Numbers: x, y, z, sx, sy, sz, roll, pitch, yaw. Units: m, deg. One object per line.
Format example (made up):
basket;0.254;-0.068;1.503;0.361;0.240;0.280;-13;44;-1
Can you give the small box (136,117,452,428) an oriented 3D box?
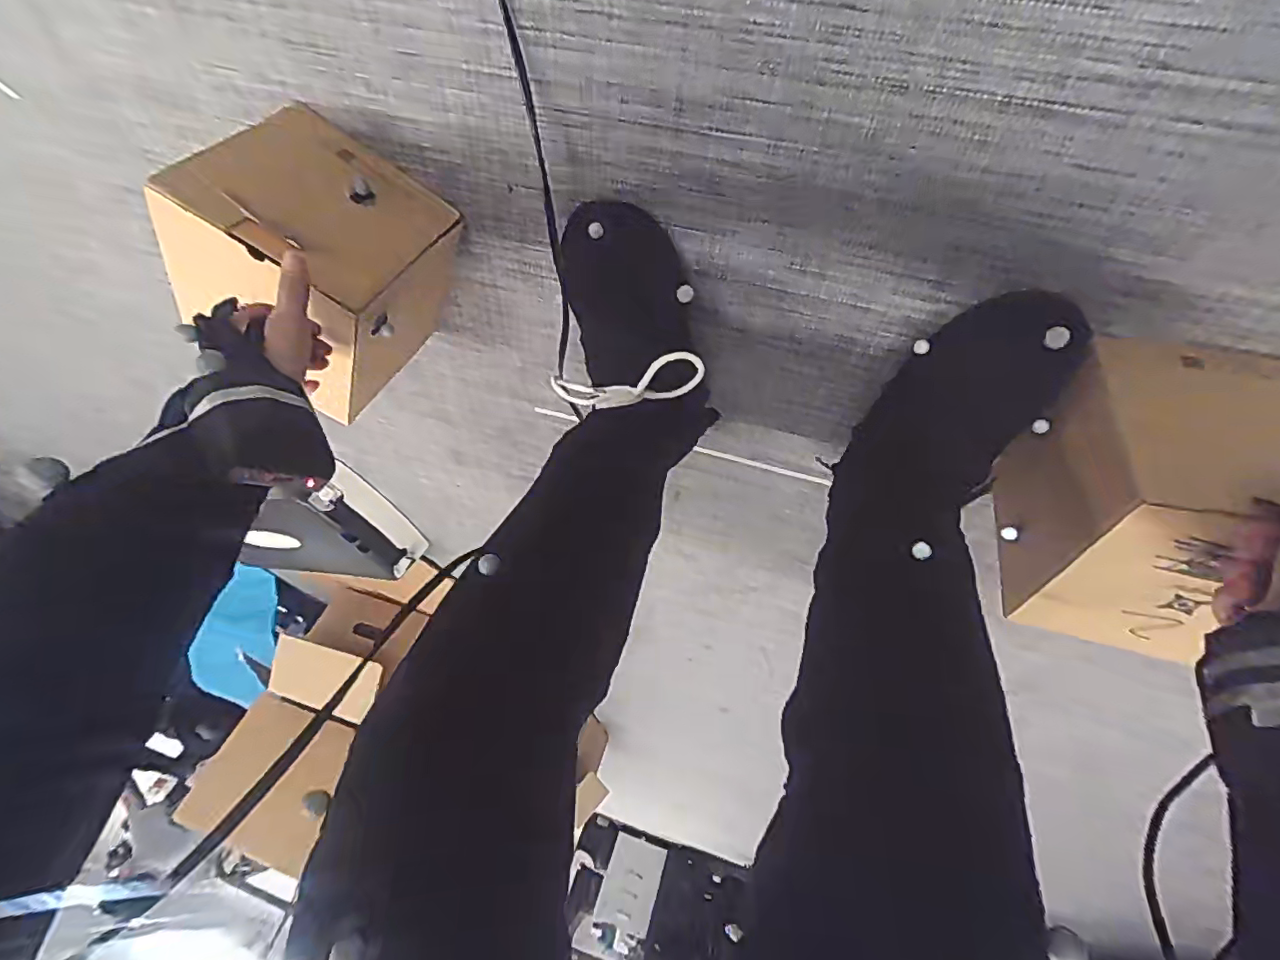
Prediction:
small box;-0.301;-0.188;0.510;0.168;0.176;0.179;32;143;-12
